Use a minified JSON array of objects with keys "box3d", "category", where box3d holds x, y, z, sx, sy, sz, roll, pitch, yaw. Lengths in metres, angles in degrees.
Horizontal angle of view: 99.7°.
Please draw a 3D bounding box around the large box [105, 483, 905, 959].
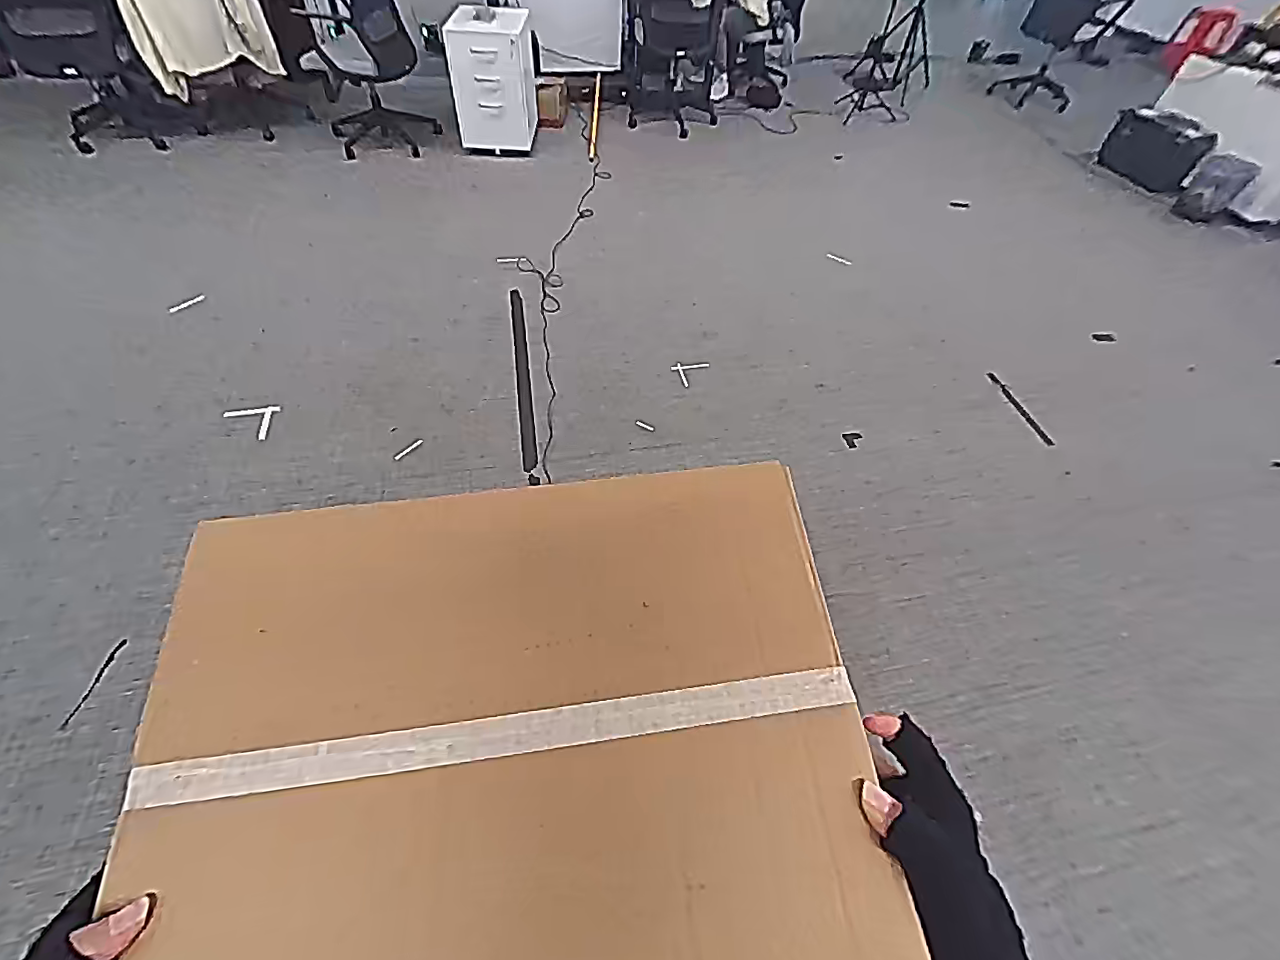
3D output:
[{"box3d":[-0.079,0.227,0.447,0.408,0.320,0.320,-6,62,-4],"category":"large box"}]
